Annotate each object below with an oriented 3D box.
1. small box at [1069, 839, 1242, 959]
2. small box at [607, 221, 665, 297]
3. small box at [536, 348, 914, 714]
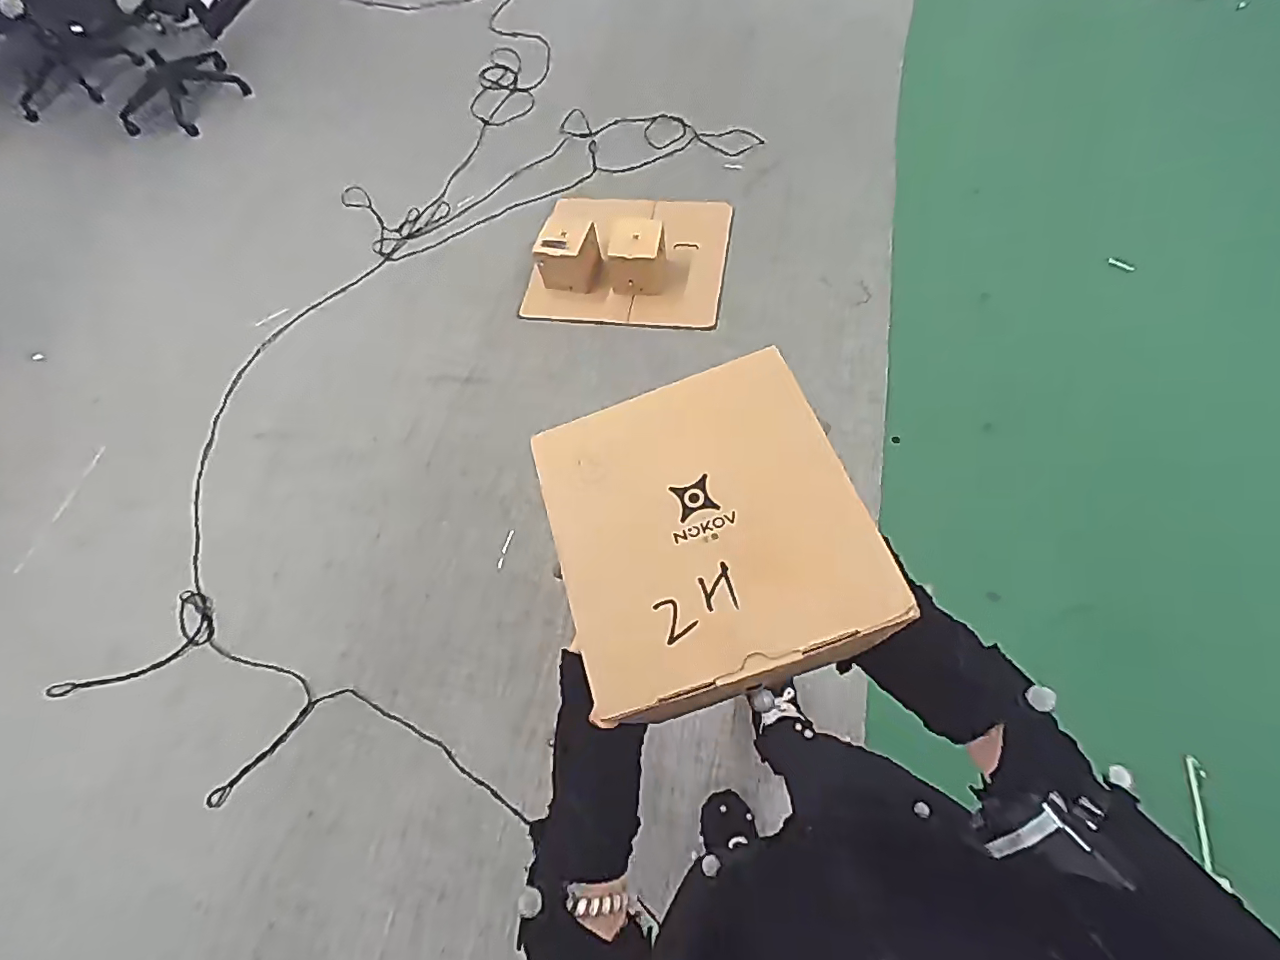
[{"bbox_3d":[0.933,0.787,1.000,0.179,0.176,0.168,11,66,11],"label":"small box"},{"bbox_3d":[-0.007,-0.757,1.855,0.168,0.176,0.179,6,66,9],"label":"small box"},{"bbox_3d":[0.047,0.049,0.372,0.168,0.176,0.179,-20,64,3],"label":"small box"}]
